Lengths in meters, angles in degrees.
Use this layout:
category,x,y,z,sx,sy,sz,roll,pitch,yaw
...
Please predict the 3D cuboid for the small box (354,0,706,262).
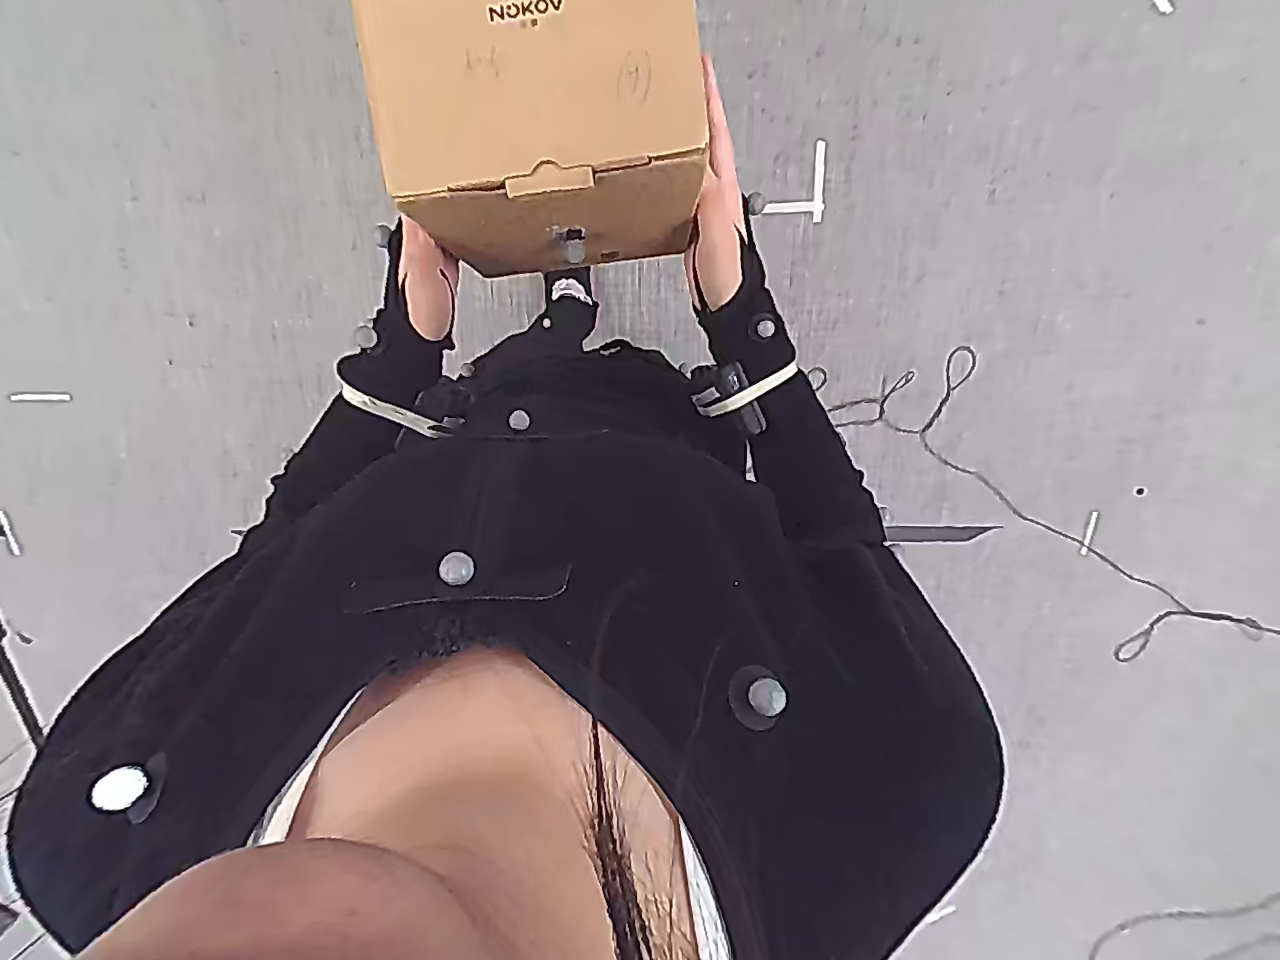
category,x,y,z,sx,sy,sz,roll,pitch,yaw
small box,-0.055,-0.247,0.337,0.168,0.176,0.179,-7,98,1
